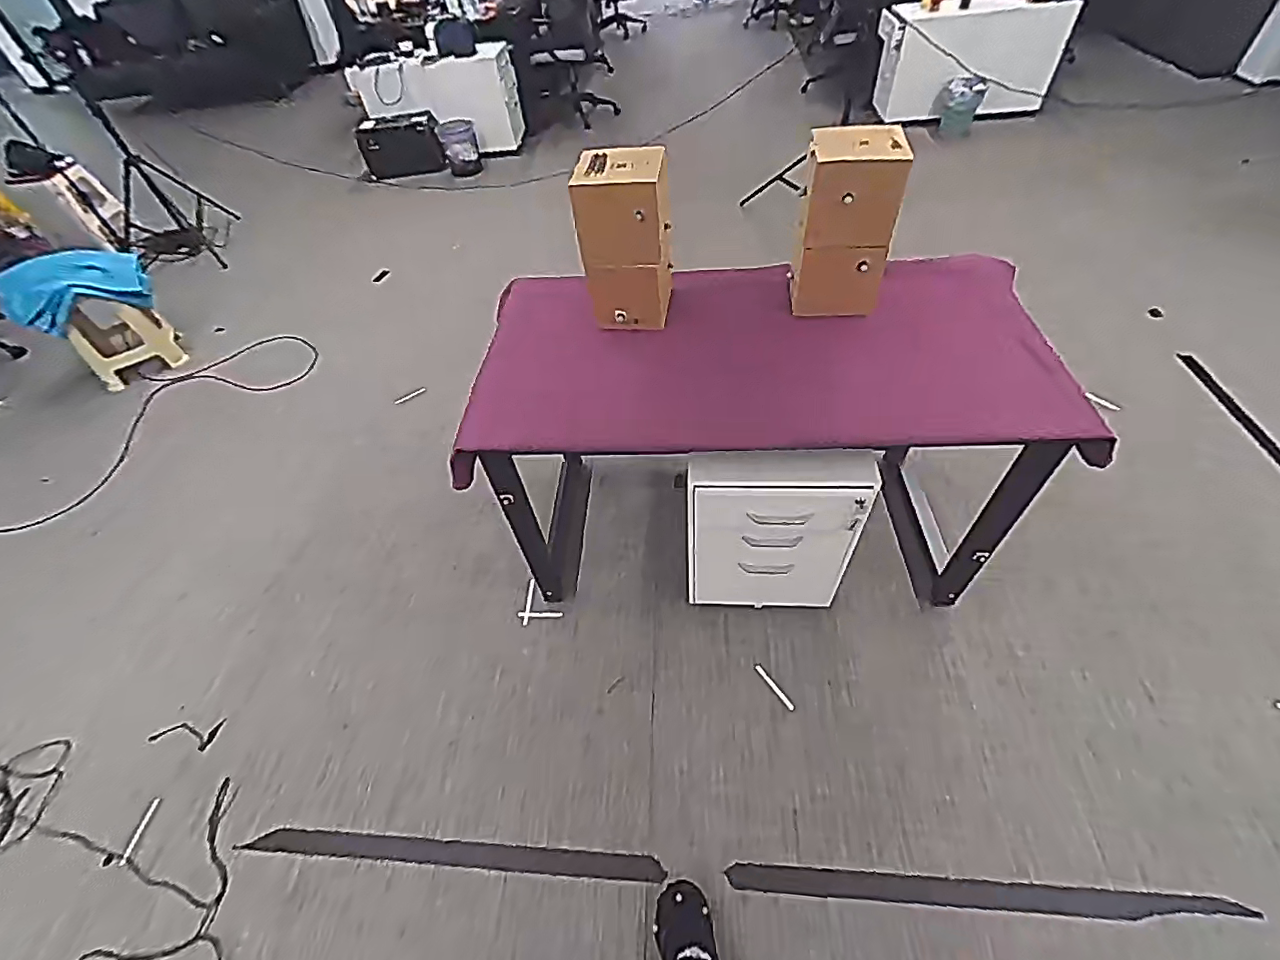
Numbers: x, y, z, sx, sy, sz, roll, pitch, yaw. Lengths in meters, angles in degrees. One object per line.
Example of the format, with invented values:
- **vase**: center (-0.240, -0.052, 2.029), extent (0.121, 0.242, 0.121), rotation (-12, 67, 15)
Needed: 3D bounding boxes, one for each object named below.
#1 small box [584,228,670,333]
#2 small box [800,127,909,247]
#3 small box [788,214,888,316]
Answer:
- **small box**: center (-0.022, -0.466, 1.265), extent (0.168, 0.176, 0.179), rotation (3, 53, 10)
- **small box**: center (0.425, -0.593, 1.105), extent (0.179, 0.176, 0.168), rotation (2, 52, 10)
- **small box**: center (0.441, -0.488, 1.230), extent (0.179, 0.176, 0.168), rotation (2, 51, 8)
